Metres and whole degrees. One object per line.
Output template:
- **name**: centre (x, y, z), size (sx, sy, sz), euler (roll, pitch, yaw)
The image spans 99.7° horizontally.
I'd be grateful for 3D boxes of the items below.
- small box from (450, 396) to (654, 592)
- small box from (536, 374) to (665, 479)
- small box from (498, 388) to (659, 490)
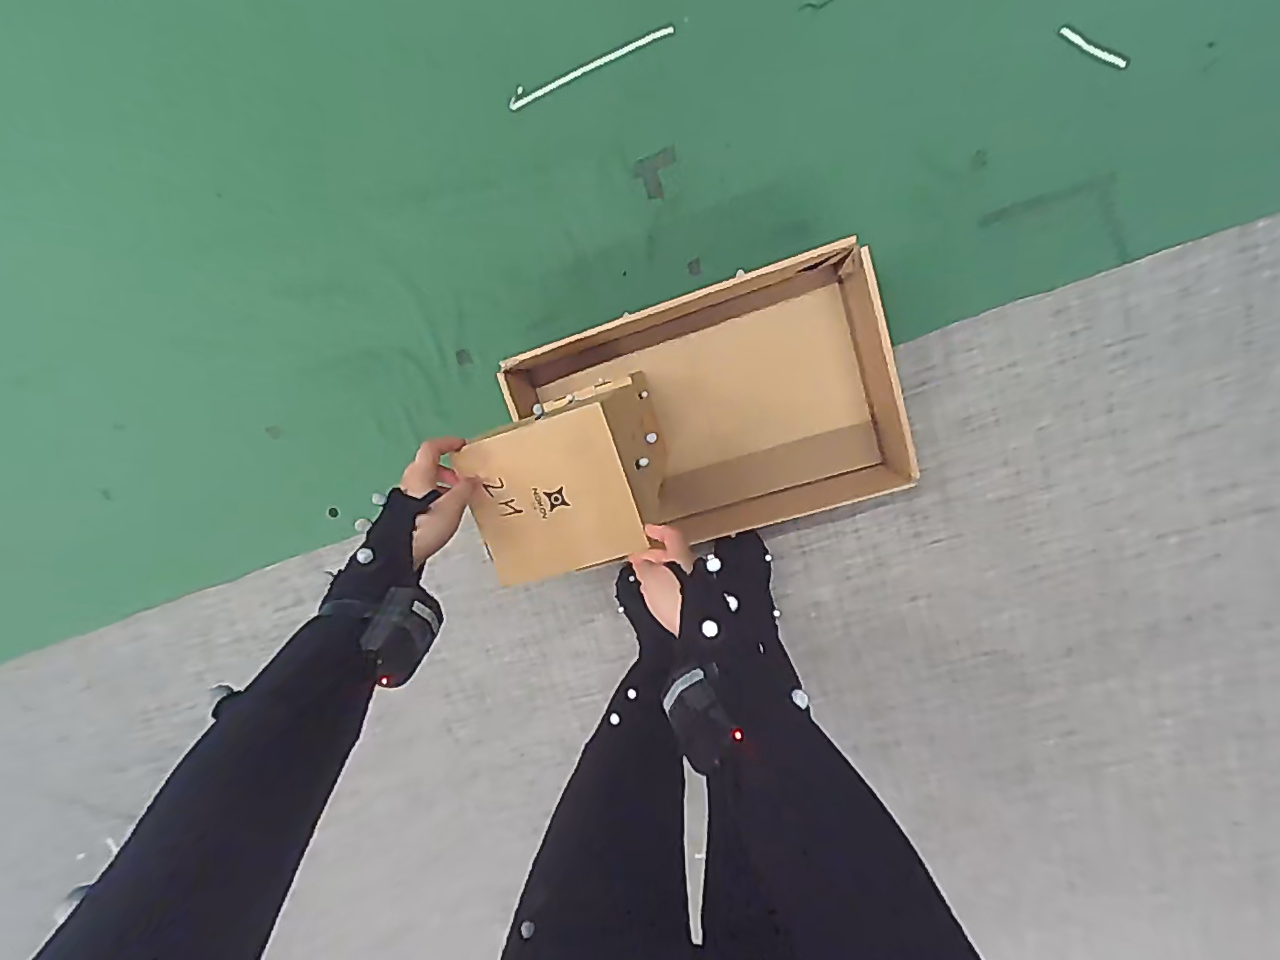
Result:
- **small box**: centre (-0.087, 0.006, 0.645), size (0.179, 0.176, 0.168), euler (-17, 101, 10)
- **small box**: centre (-0.059, -0.080, 0.964), size (0.168, 0.176, 0.179), euler (-18, 101, 10)
- **small box**: centre (-0.080, -0.032, 0.808), size (0.179, 0.176, 0.168), euler (-17, 101, 10)
